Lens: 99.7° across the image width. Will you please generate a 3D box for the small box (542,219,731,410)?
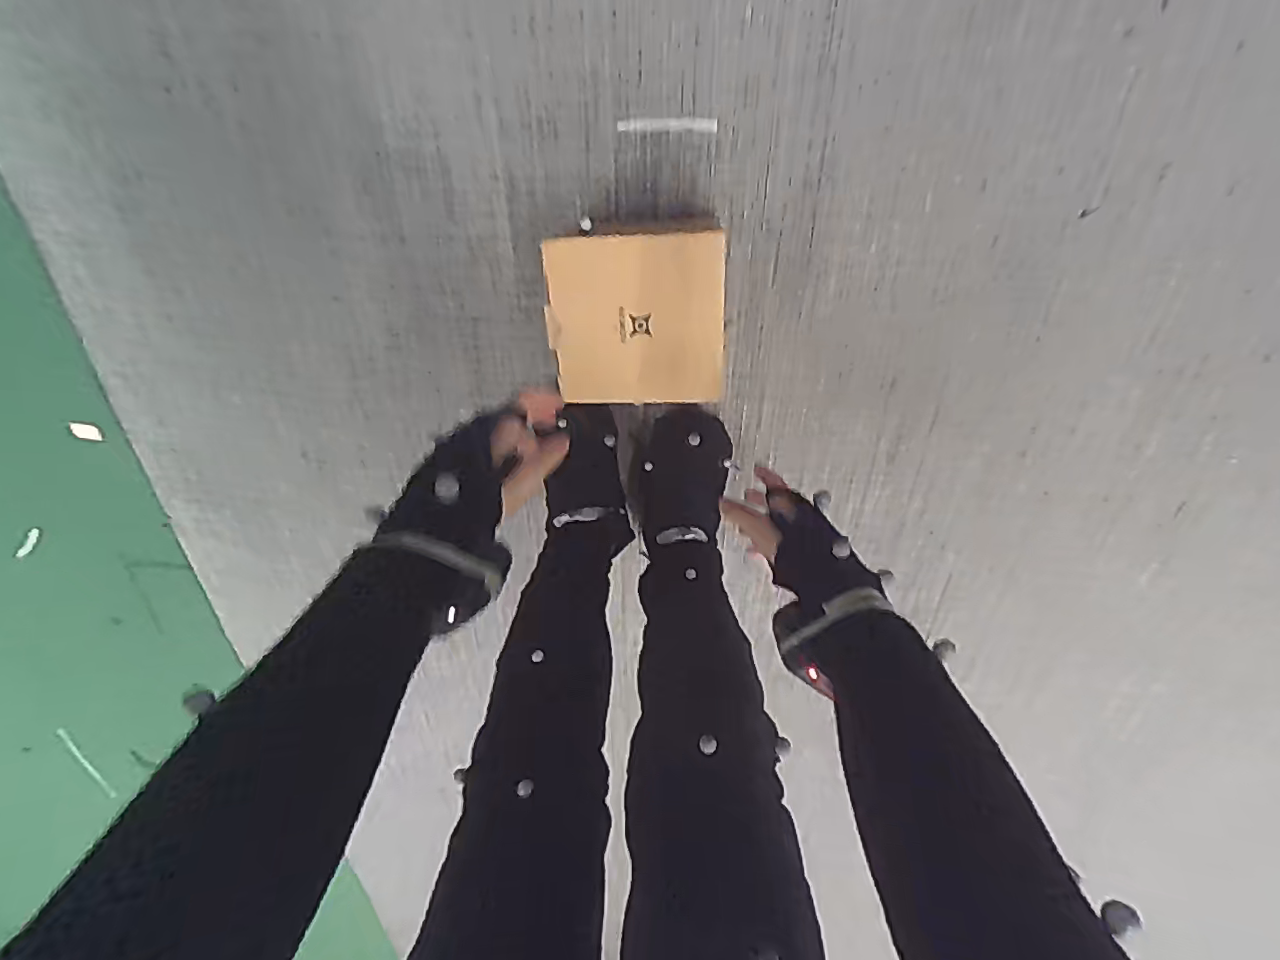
[{"bbox_3d":[0.008,-0.186,0.595,0.179,0.176,0.168,2,121,8],"label":"small box"}]
